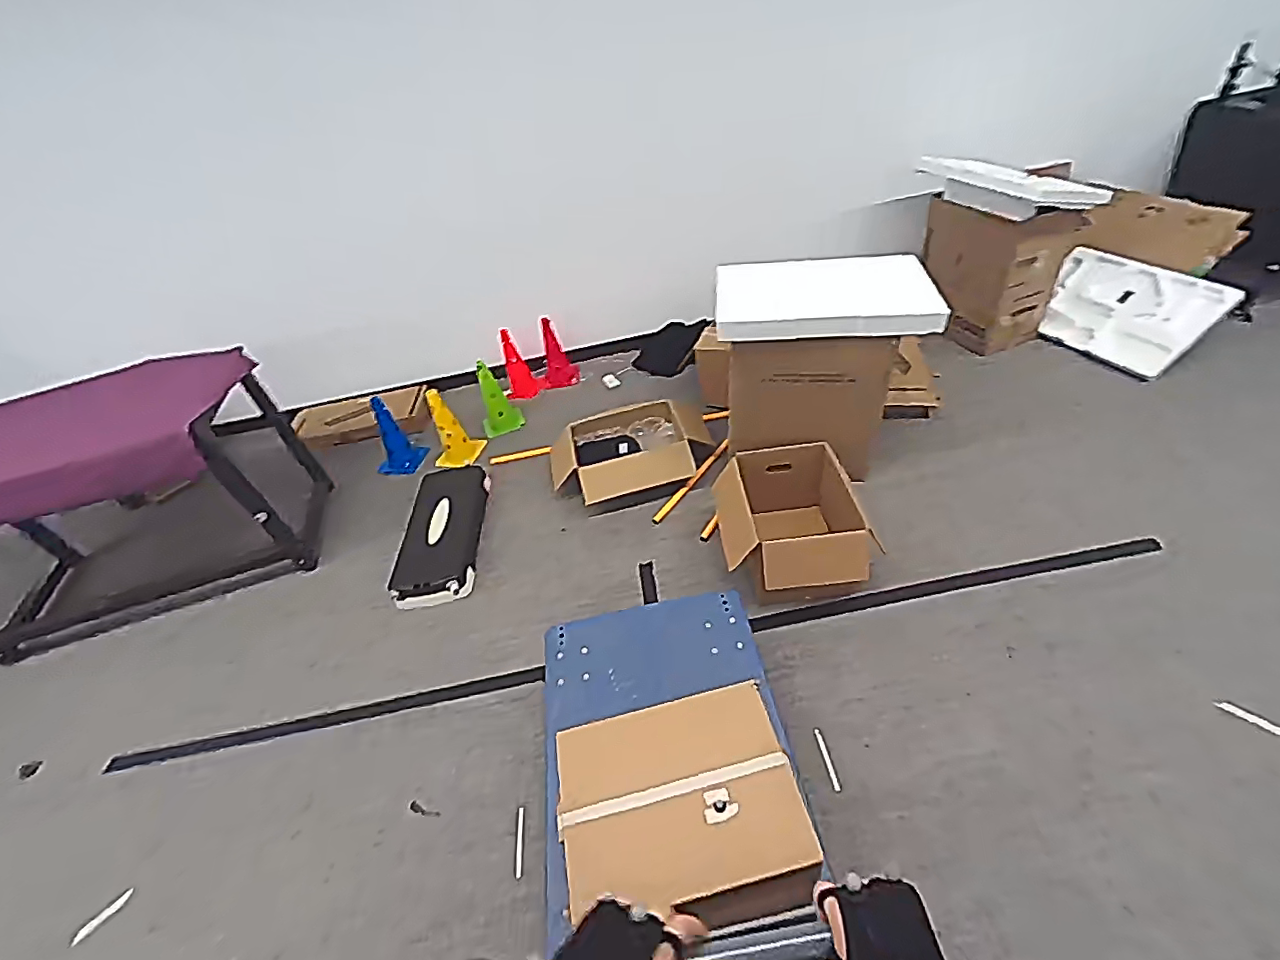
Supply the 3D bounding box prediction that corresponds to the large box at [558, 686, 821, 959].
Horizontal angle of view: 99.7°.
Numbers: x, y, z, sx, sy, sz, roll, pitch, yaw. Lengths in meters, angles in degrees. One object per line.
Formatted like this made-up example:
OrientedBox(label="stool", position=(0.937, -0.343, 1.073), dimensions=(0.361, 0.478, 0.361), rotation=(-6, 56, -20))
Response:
OrientedBox(label="large box", position=(0.082, 0.662, 1.039), dimensions=(0.408, 0.320, 0.320), rotation=(-13, 42, -4))
